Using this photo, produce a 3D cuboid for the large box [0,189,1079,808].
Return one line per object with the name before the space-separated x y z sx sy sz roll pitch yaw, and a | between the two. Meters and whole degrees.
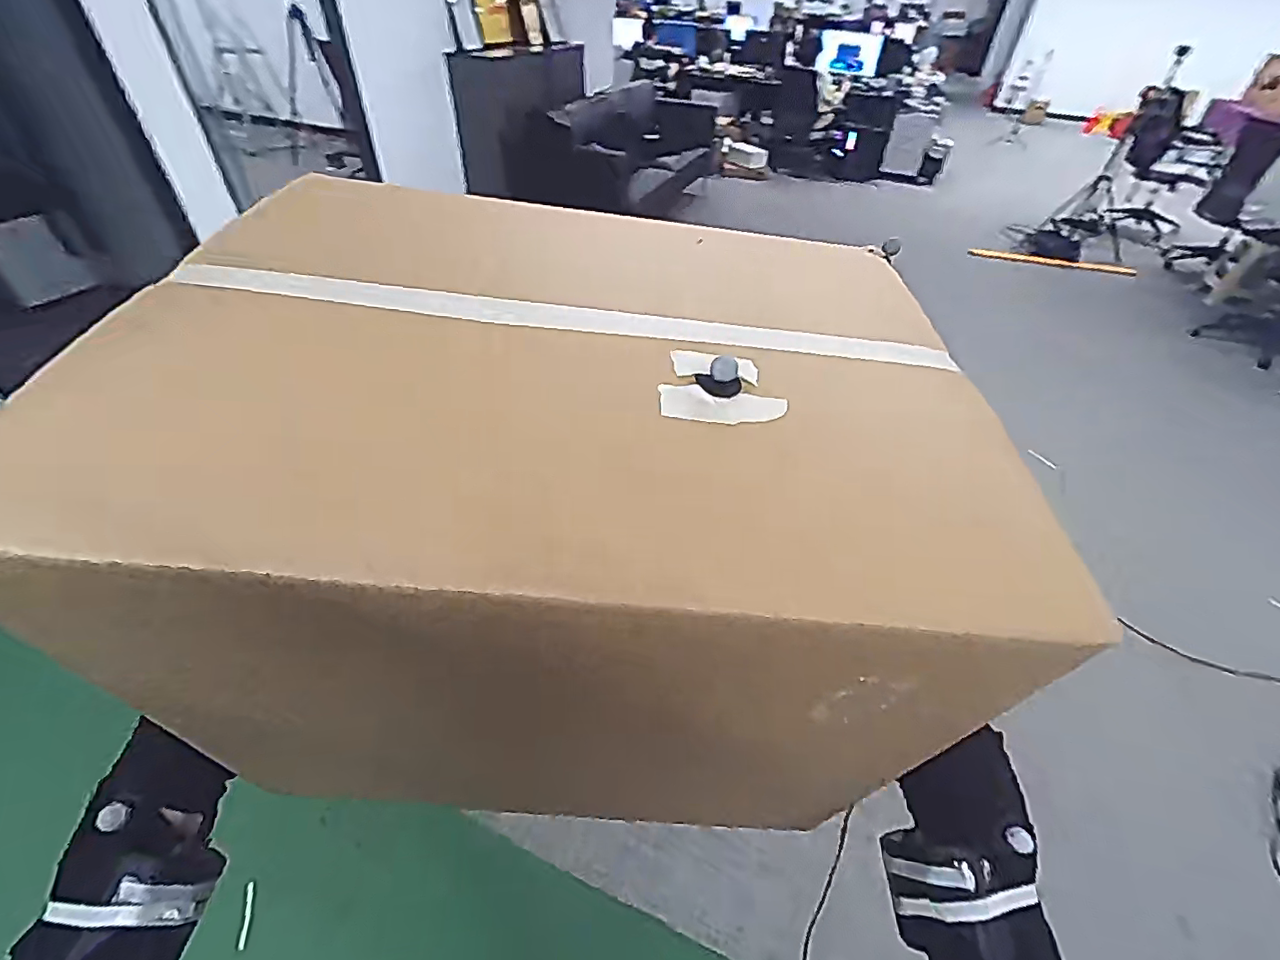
large box | -0.039 0.025 0.403 0.408 0.320 0.320 7 48 -4
